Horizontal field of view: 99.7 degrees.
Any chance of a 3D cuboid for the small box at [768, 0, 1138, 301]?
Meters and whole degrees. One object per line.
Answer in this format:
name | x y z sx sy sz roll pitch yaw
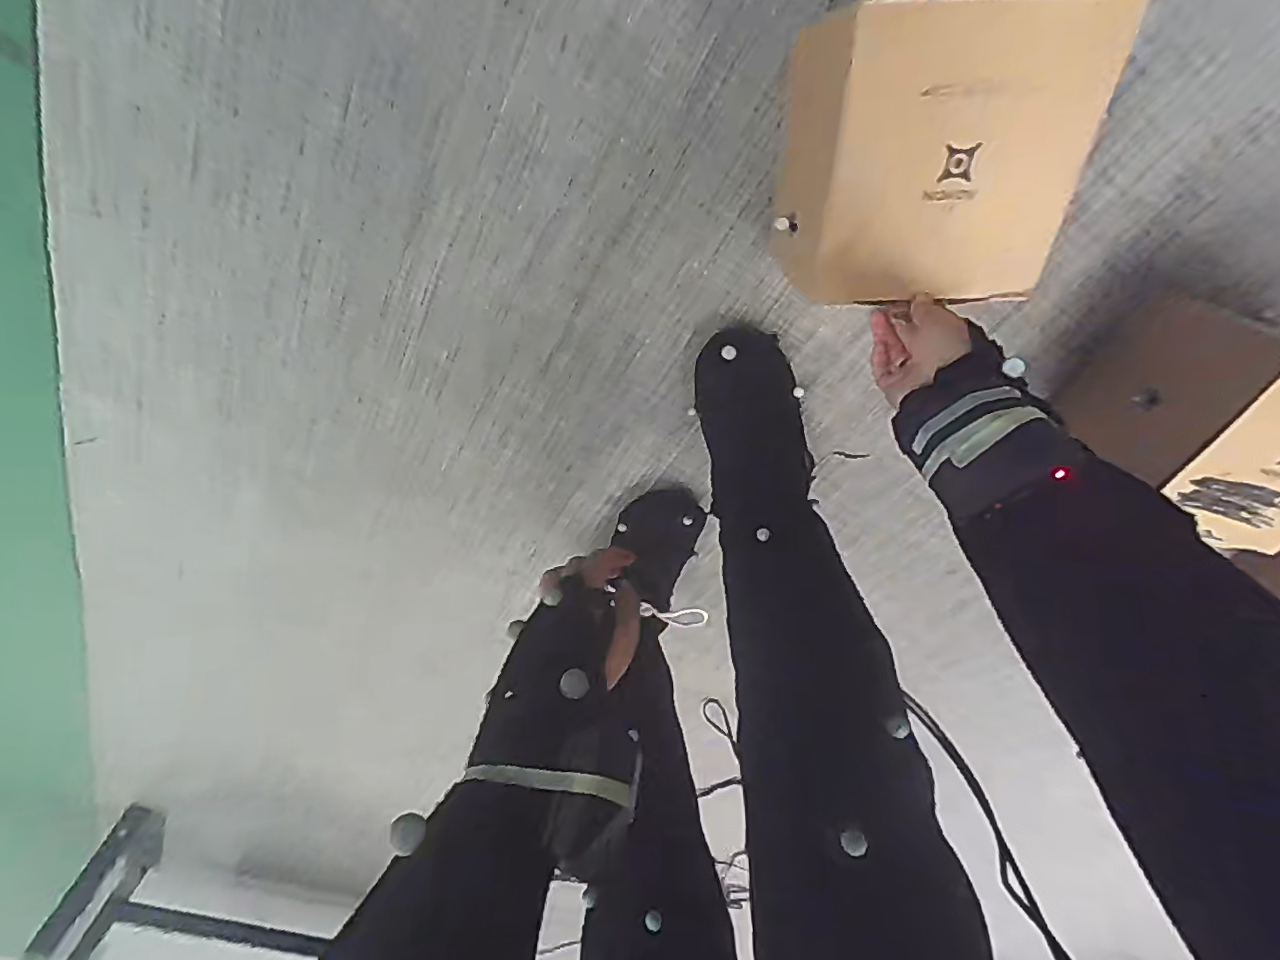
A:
small box | 0.200 -0.251 0.415 0.168 0.176 0.179 -1 125 1
